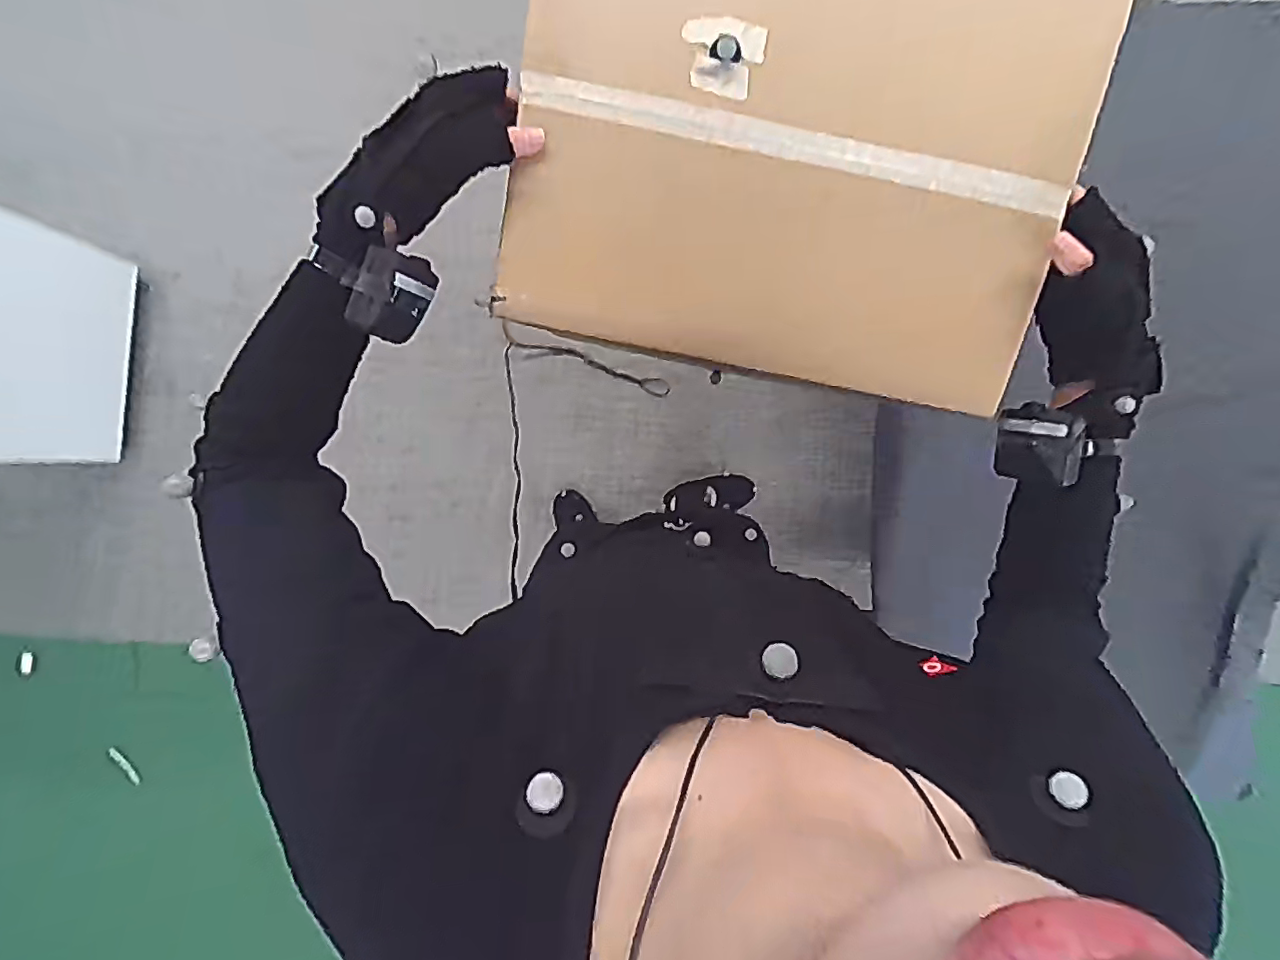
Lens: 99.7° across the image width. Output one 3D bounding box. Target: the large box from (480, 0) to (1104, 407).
[{"bbox_3d":[0.101,-0.269,0.535,0.408,0.320,0.320,11,102,-1],"label":"large box"}]
